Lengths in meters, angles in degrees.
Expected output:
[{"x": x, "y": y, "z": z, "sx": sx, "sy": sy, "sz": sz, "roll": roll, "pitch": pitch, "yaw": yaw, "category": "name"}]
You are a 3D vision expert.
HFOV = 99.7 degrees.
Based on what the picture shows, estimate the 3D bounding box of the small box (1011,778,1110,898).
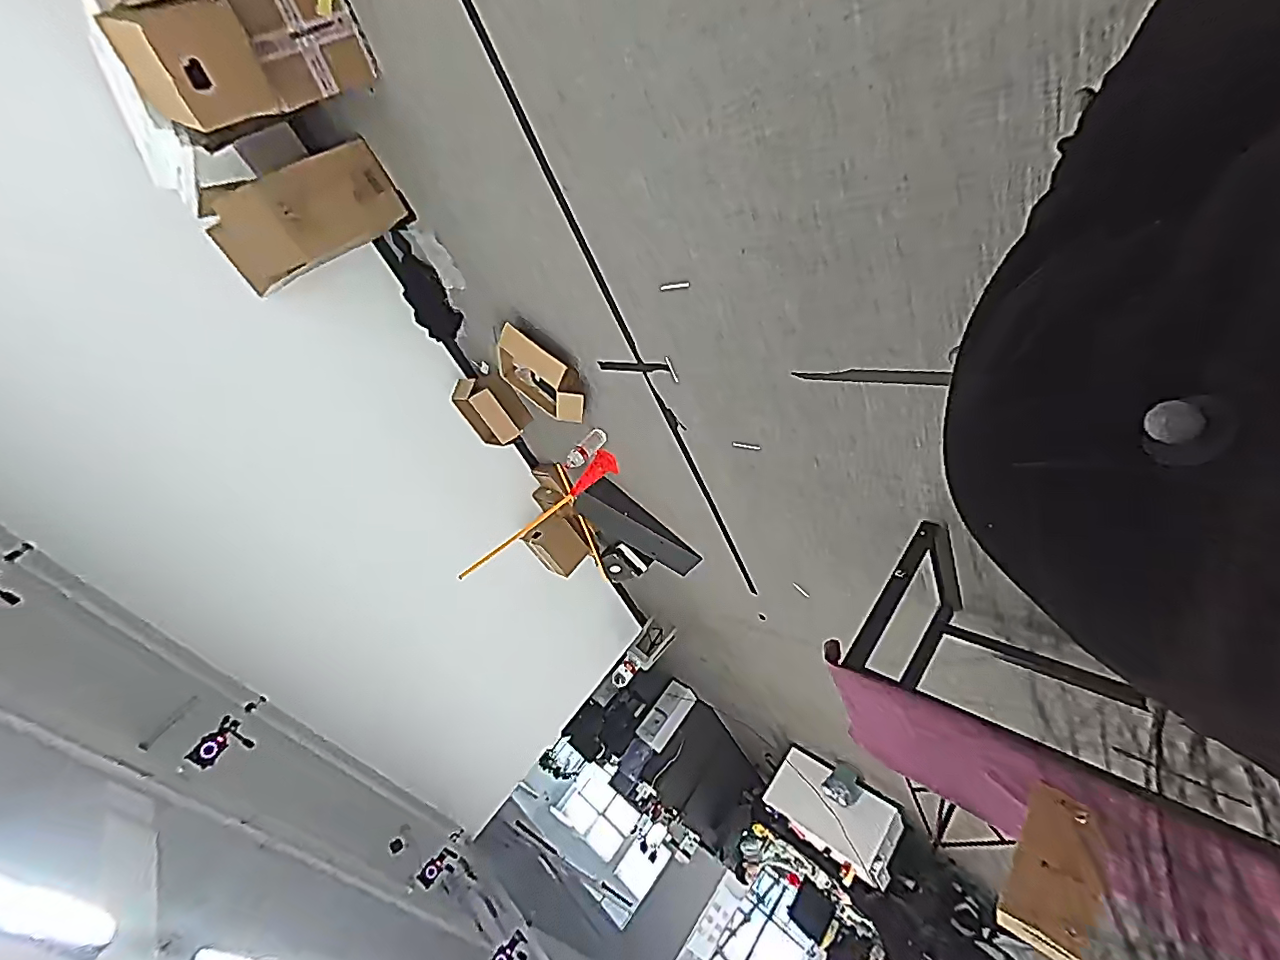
[{"x": 1.068, "y": 0.905, "z": 1.377, "sx": 0.168, "sy": 0.176, "sz": 0.179, "roll": 14, "pitch": 143, "yaw": 43, "category": "small box"}]
